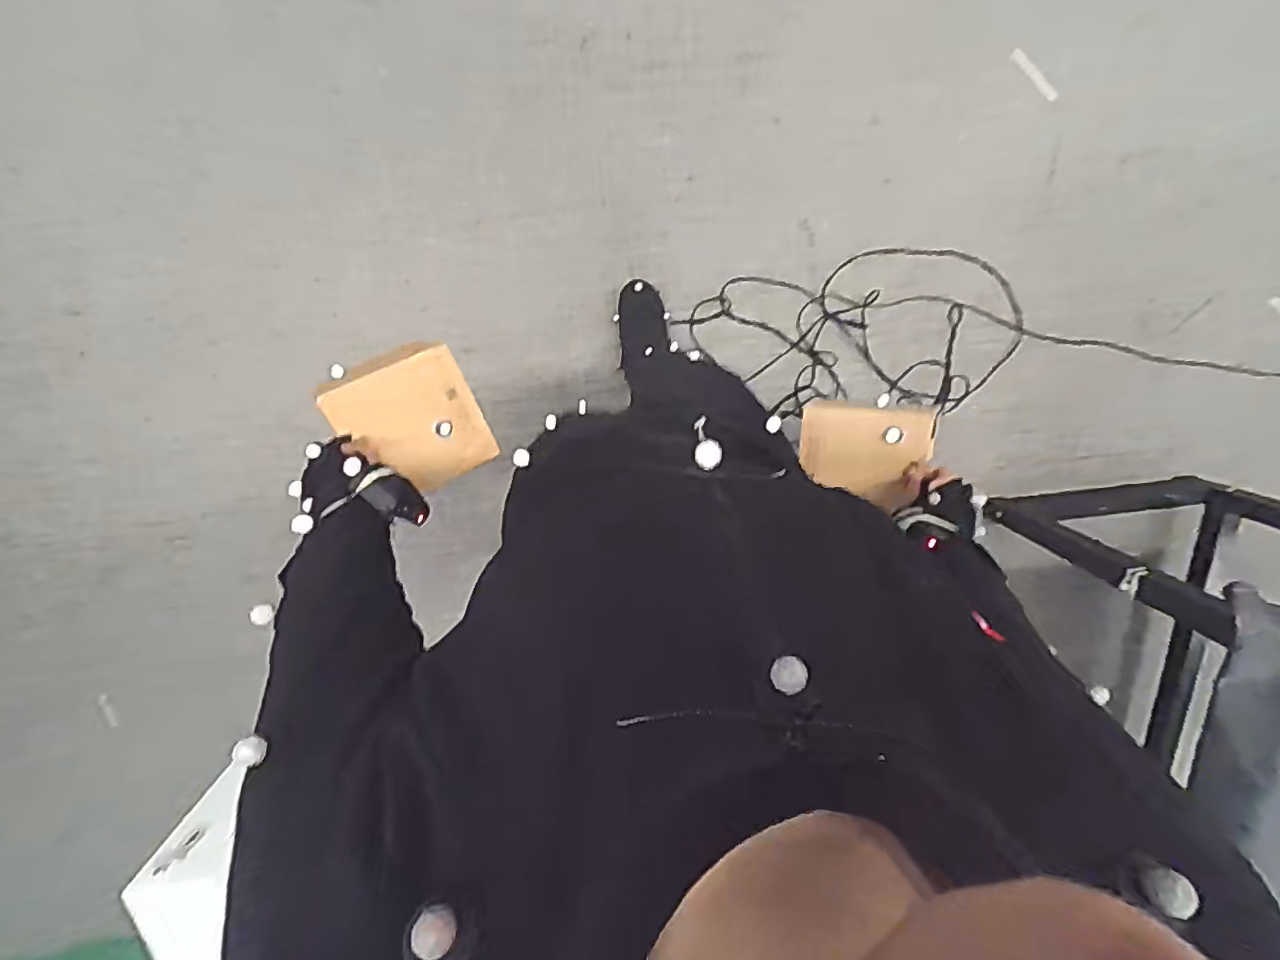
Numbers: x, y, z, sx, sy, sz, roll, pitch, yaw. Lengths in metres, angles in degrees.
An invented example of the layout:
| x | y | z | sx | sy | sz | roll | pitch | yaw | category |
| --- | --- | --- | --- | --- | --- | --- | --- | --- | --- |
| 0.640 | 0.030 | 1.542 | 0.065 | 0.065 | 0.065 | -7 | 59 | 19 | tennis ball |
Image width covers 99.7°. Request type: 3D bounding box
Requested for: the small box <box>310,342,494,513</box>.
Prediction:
| x | y | z | sx | sy | sz | roll | pitch | yaw | category |
| --- | --- | --- | --- | --- | --- | --- | --- | --- | --- |
| -0.326 | -0.082 | 0.750 | 0.176 | 0.179 | 0.168 | -32 | 118 | -22 | small box |
